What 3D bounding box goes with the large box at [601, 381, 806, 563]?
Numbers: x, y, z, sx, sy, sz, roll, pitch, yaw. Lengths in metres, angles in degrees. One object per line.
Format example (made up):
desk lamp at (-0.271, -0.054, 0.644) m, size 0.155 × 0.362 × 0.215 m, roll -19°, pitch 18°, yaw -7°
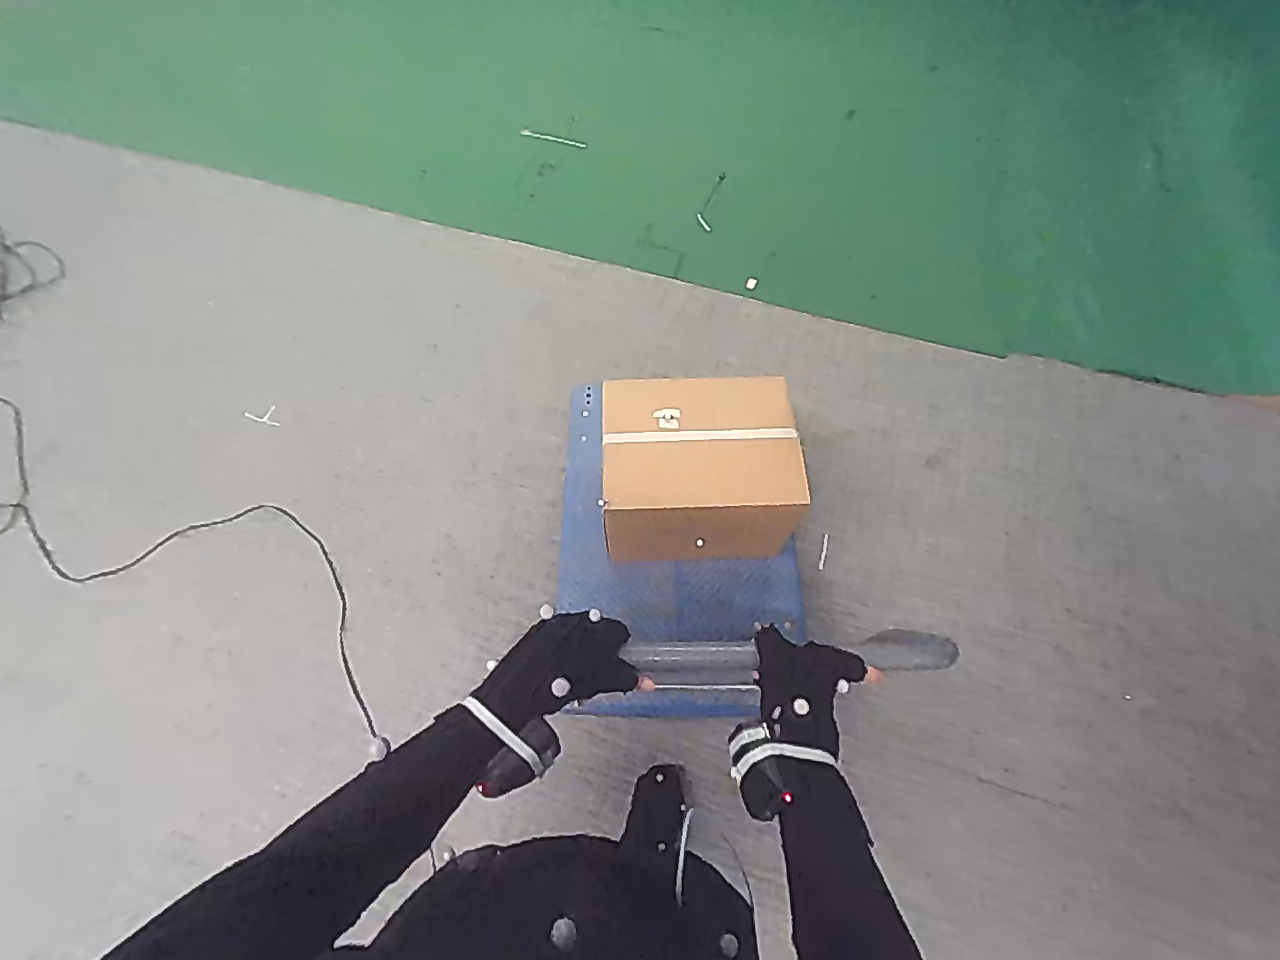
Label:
large box at (0.121, -0.007, 1.252) m, size 0.408 × 0.320 × 0.320 m, roll -2°, pitch 62°, yaw -2°
